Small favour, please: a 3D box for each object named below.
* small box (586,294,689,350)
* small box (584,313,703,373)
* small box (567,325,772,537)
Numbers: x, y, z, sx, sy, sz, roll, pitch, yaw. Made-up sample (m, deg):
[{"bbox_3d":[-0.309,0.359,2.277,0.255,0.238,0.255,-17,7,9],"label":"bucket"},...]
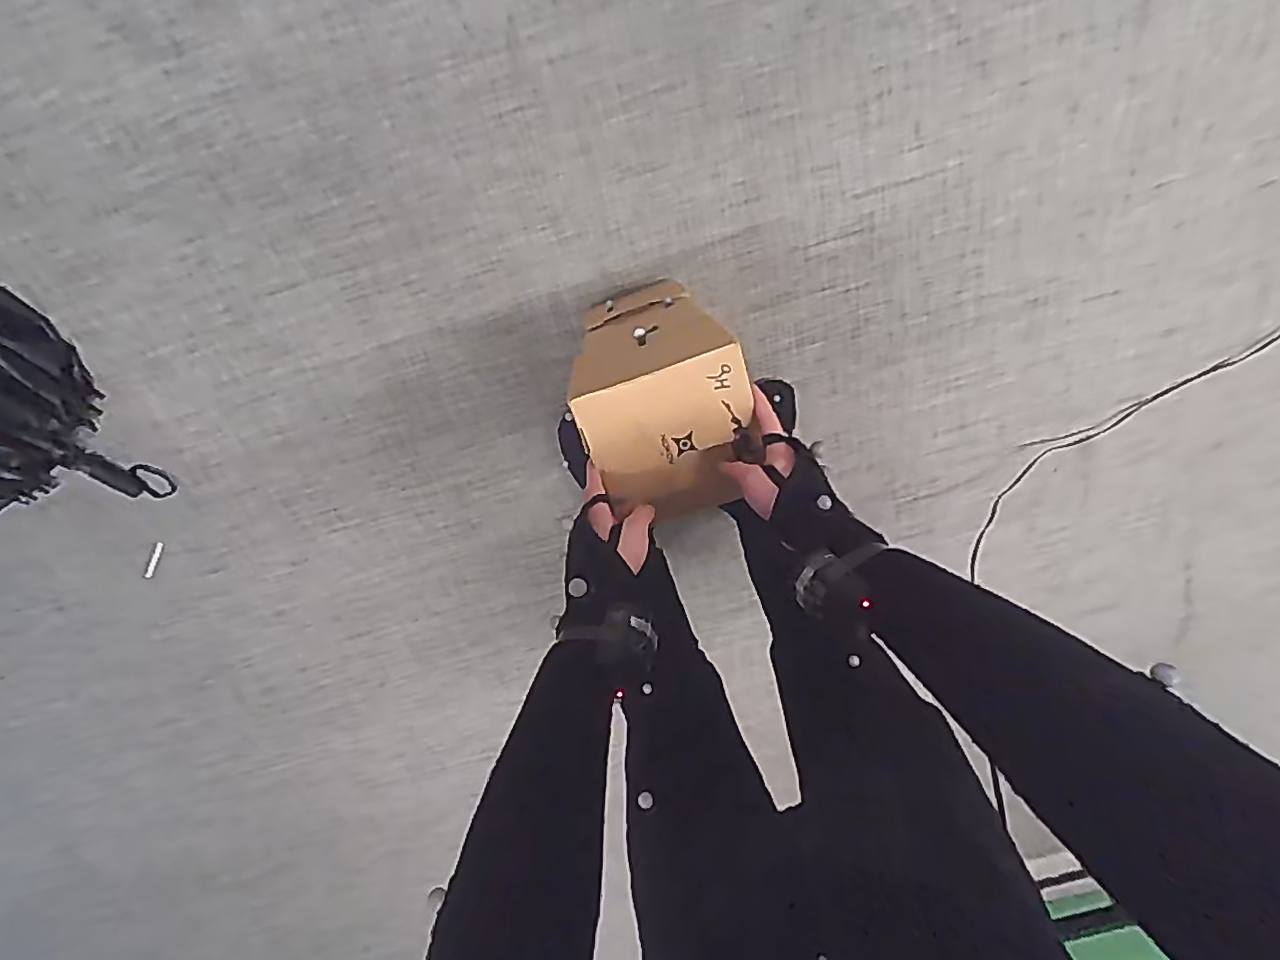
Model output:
[{"bbox_3d":[0.014,-0.205,0.926,0.168,0.176,0.179,-21,117,6],"label":"small box"},{"bbox_3d":[0.027,-0.128,0.781,0.168,0.176,0.179,-21,116,6],"label":"small box"},{"bbox_3d":[0.032,-0.065,0.629,0.179,0.176,0.168,-20,115,6],"label":"small box"}]
